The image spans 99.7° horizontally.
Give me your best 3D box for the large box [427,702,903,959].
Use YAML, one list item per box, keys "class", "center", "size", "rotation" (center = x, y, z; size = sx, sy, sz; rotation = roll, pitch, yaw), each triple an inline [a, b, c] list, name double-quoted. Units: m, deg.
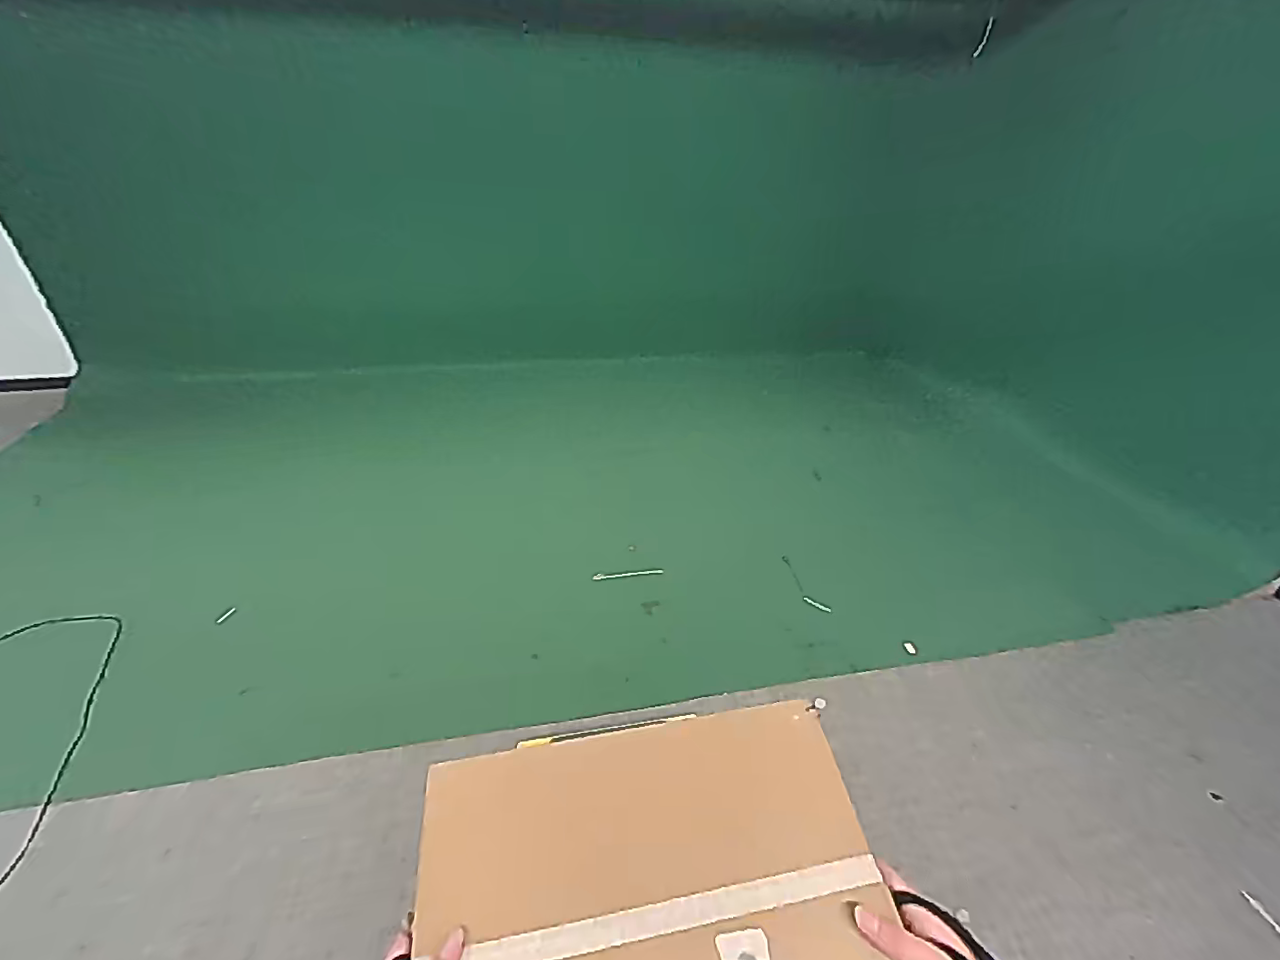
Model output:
- class: "large box"
  center: [0.012, 0.485, 0.582]
  size: [0.408, 0.320, 0.320]
  rotation: [-7, 48, -8]
